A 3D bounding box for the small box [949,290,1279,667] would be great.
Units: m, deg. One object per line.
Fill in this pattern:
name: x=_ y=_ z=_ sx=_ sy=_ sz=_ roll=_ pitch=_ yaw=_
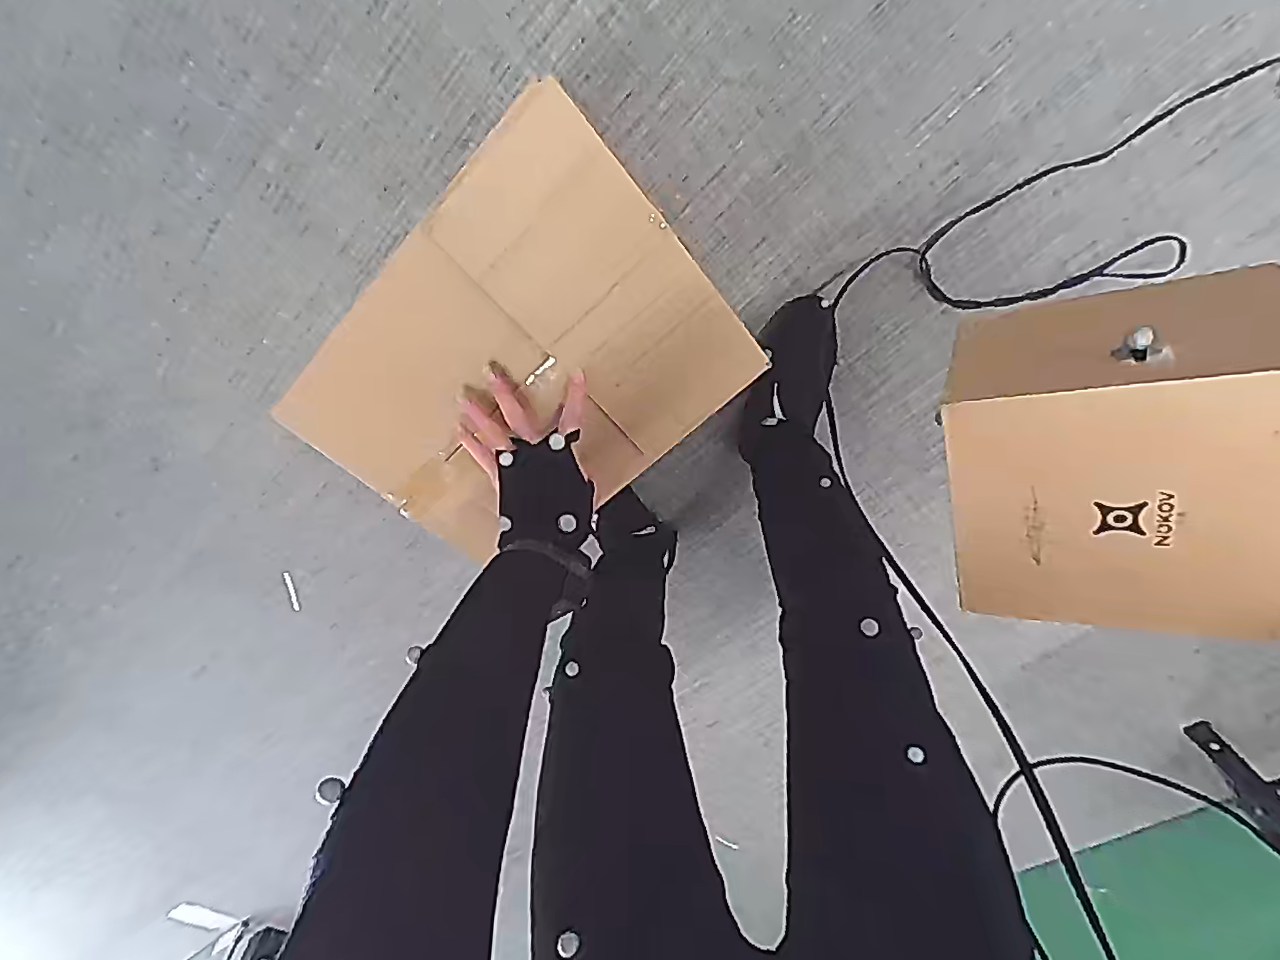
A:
small box: x=0.305 y=-0.011 z=0.351 sx=0.179 sy=0.176 sz=0.168 roll=0 pitch=120 yaw=33
